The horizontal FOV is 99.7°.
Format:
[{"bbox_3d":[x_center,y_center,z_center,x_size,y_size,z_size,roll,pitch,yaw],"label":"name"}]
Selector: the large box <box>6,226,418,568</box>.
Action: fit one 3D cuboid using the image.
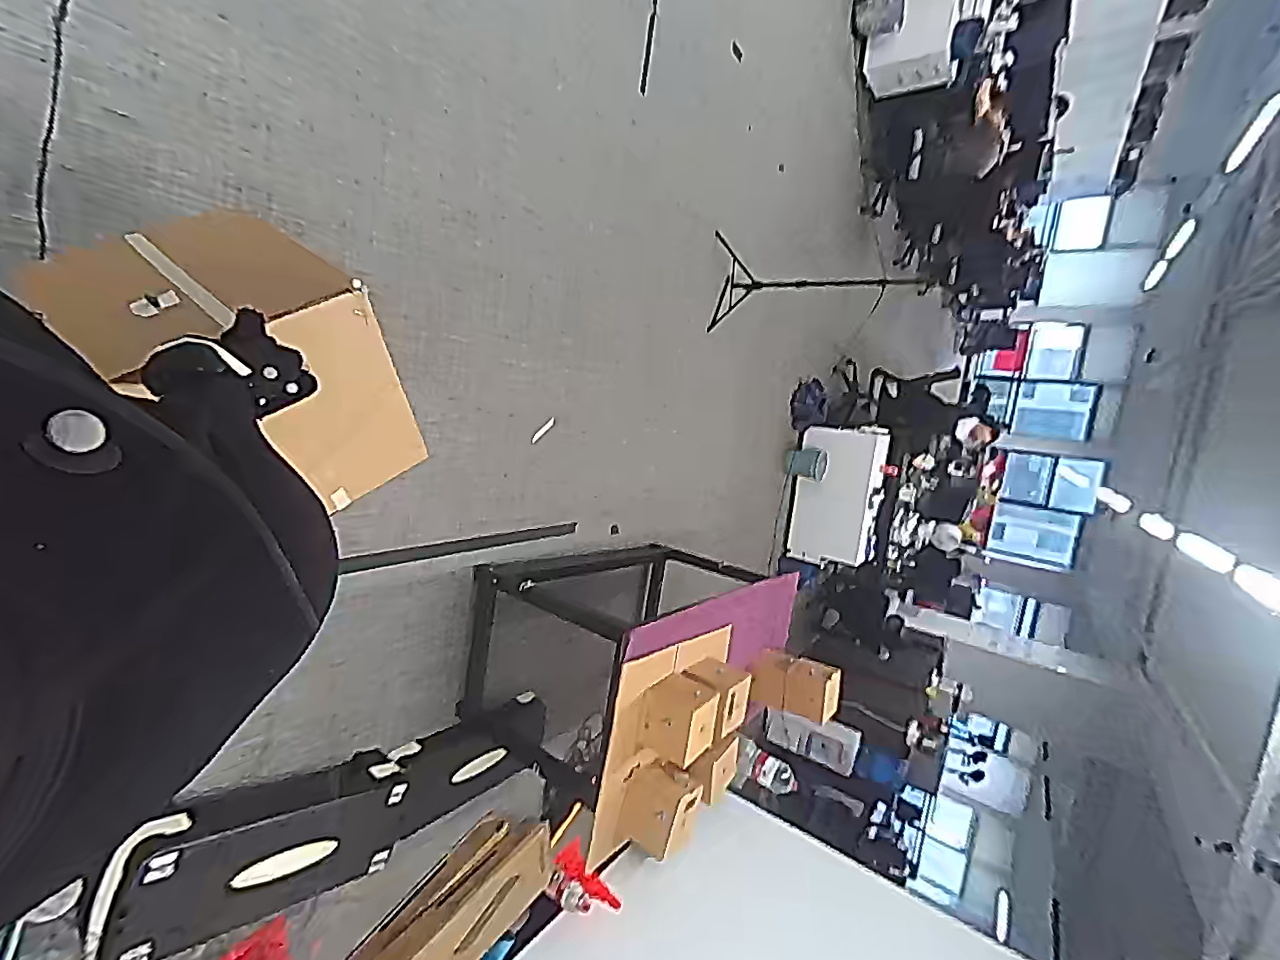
[{"bbox_3d":[-0.621,-0.145,0.835,0.320,0.408,0.320,-39,148,-31],"label":"large box"}]
